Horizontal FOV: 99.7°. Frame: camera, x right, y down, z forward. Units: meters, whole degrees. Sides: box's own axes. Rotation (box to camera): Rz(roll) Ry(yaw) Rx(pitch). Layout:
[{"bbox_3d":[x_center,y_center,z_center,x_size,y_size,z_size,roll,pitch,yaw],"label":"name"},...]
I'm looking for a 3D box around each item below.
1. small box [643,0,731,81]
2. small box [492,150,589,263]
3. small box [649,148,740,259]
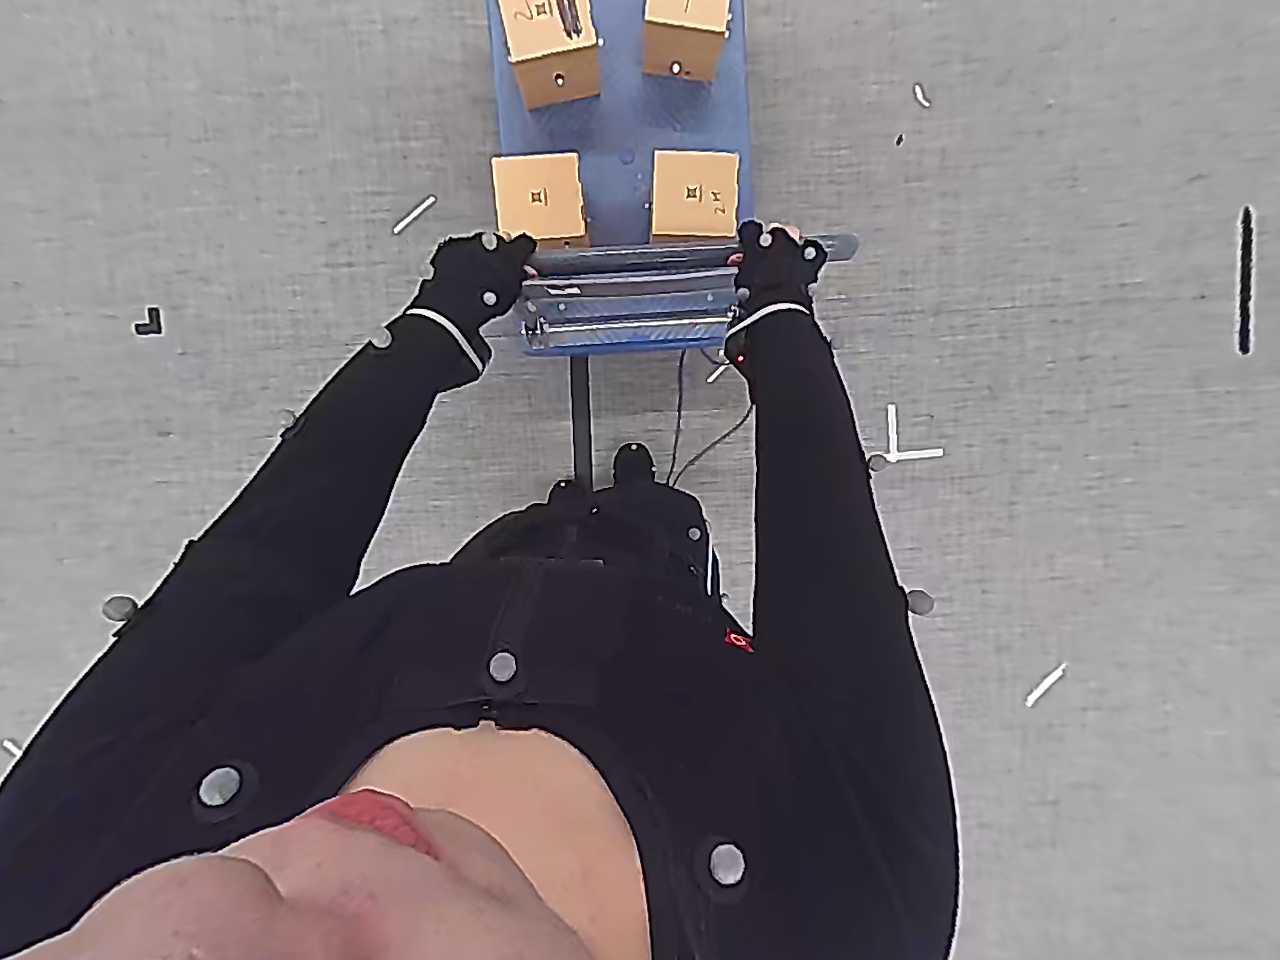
[{"bbox_3d":[0.099,-0.991,1.132,0.168,0.176,0.179,7,97,-2],"label":"small box"},{"bbox_3d":[-0.207,-0.580,1.167,0.179,0.176,0.168,-5,96,-3],"label":"small box"},{"bbox_3d":[0.111,-0.591,1.174,0.179,0.176,0.168,1,96,-2],"label":"small box"}]
